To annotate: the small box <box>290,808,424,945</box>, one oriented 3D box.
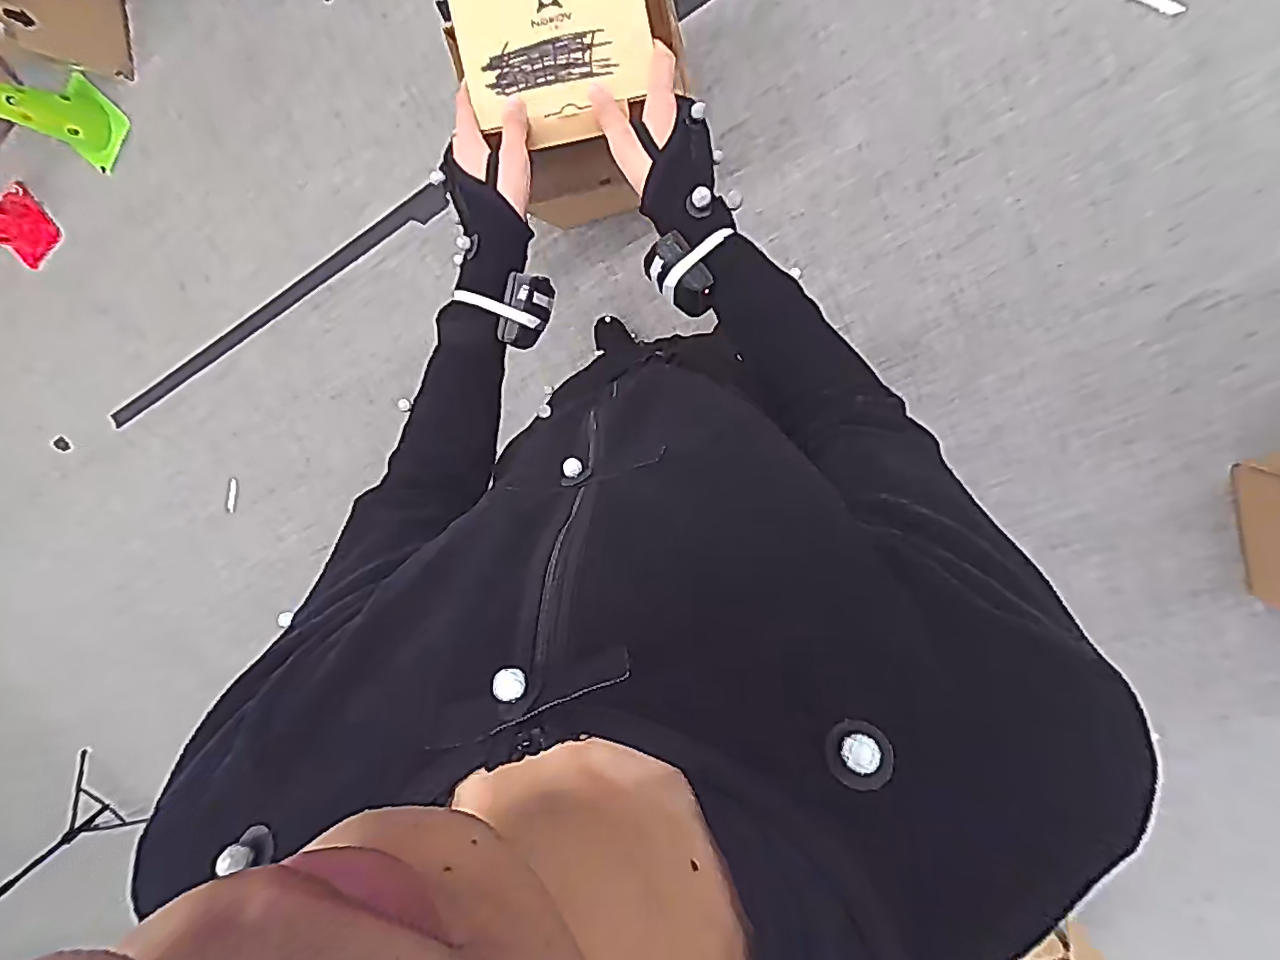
[{"bbox_3d":[-0.610,0.870,1.198,0.179,0.176,0.168,-29,101,18],"label":"small box"}]
